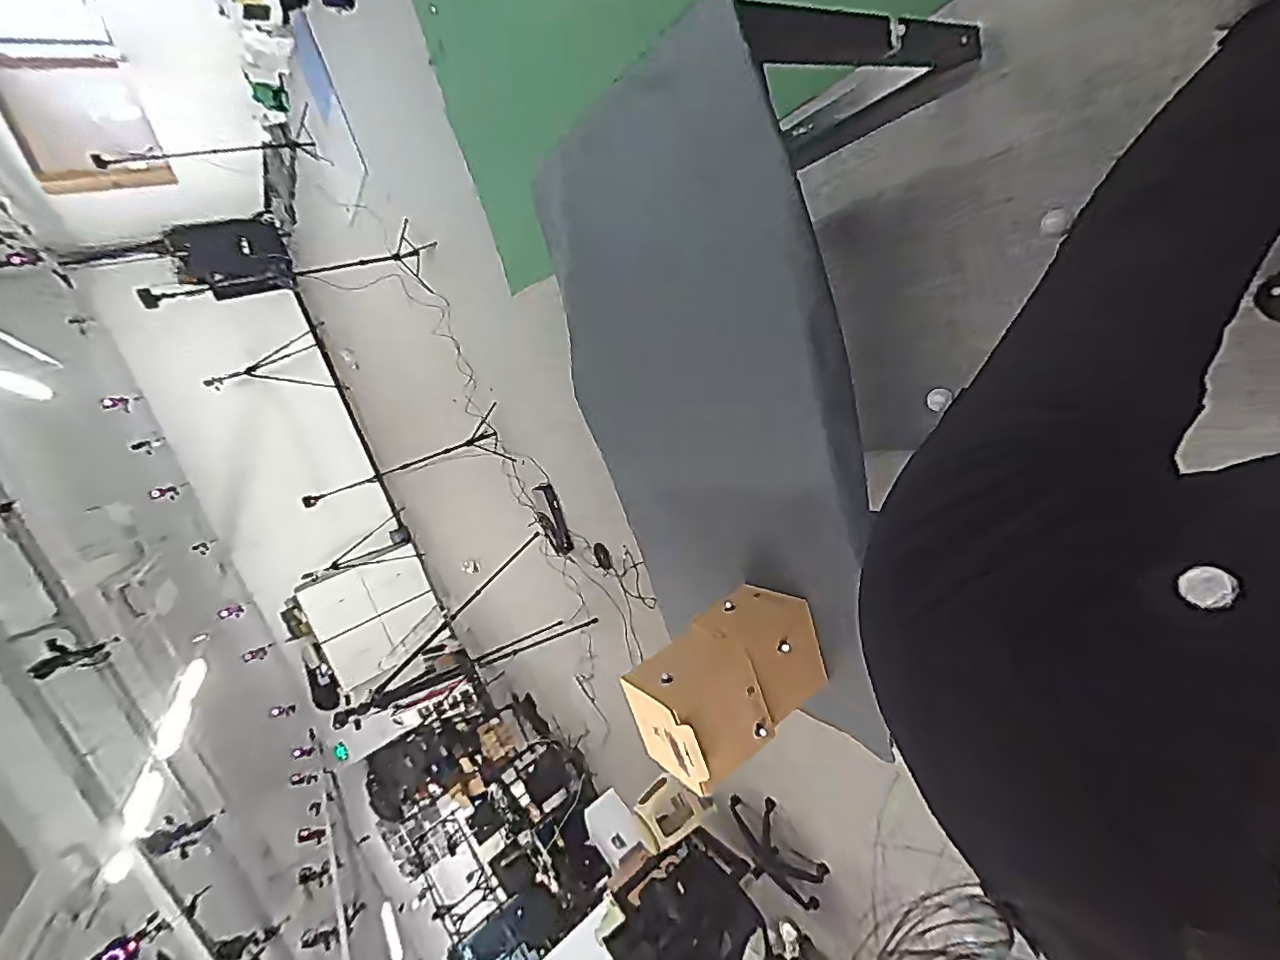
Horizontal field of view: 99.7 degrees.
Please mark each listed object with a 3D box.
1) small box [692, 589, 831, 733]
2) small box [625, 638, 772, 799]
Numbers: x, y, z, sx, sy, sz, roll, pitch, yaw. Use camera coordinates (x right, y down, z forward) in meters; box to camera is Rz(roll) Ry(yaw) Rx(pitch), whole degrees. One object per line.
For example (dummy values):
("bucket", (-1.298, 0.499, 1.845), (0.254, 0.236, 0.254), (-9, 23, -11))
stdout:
("small box", (0.232, 0.329, 1.025), (0.168, 0.176, 0.179), (2, 114, 58))
("small box", (0.107, 0.399, 0.943), (0.179, 0.176, 0.168), (-4, 107, 60))
